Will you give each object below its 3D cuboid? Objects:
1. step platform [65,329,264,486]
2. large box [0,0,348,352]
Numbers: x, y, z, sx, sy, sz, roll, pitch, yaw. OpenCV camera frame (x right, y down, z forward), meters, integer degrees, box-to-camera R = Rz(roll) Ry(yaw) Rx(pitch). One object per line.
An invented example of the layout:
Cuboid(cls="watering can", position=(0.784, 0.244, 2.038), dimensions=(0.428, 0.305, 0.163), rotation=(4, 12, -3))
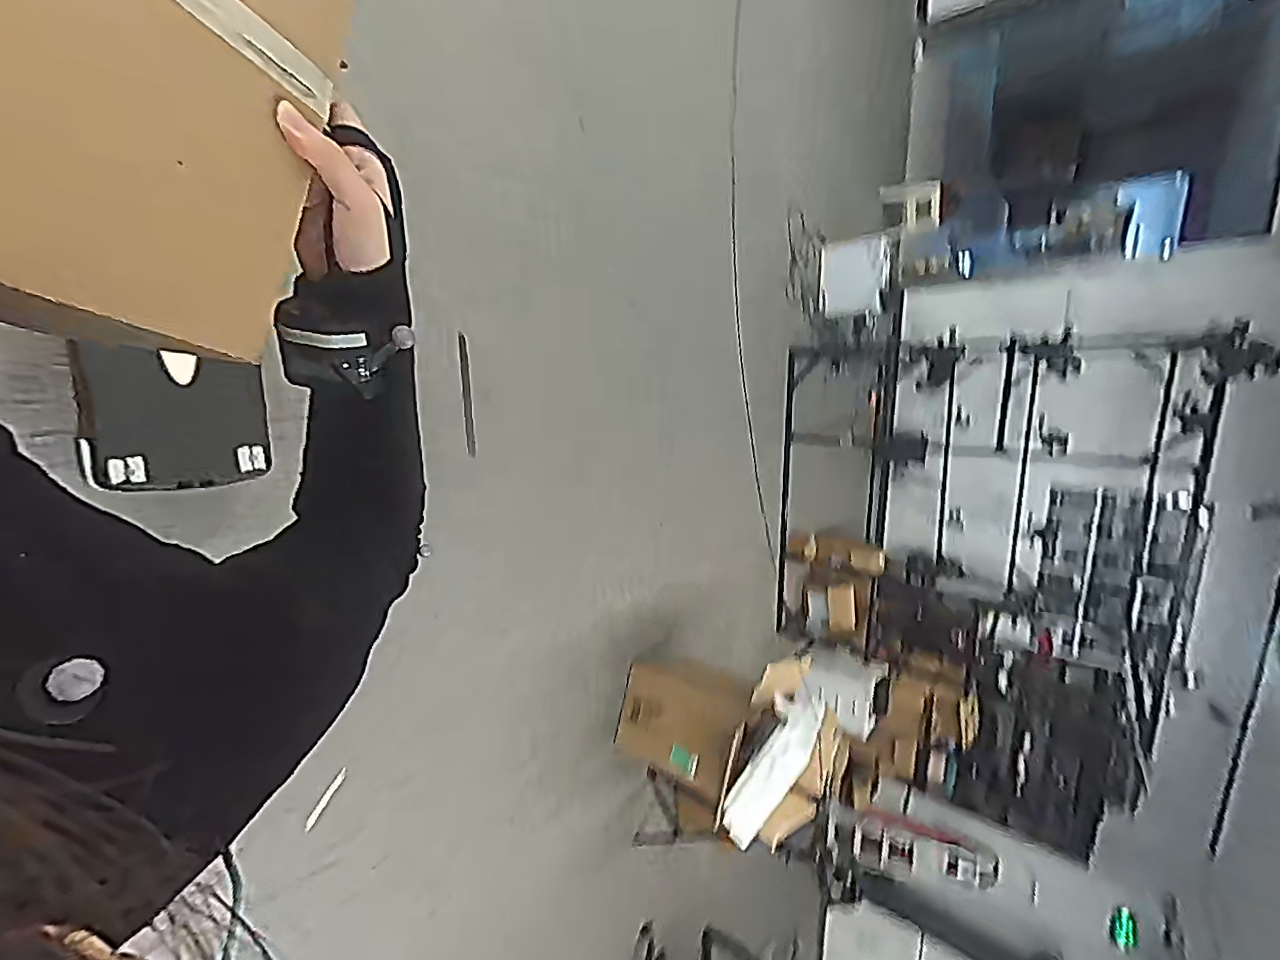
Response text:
Cuboid(cls="step platform", position=(-0.935, -0.328, 1.070), dimensions=(0.286, 0.204, 0.684), rotation=(-3, 98, -51))
Cuboid(cls="large box", position=(-0.399, -0.265, 0.207), dimensions=(0.408, 0.320, 0.320), rotation=(15, 85, -61))
